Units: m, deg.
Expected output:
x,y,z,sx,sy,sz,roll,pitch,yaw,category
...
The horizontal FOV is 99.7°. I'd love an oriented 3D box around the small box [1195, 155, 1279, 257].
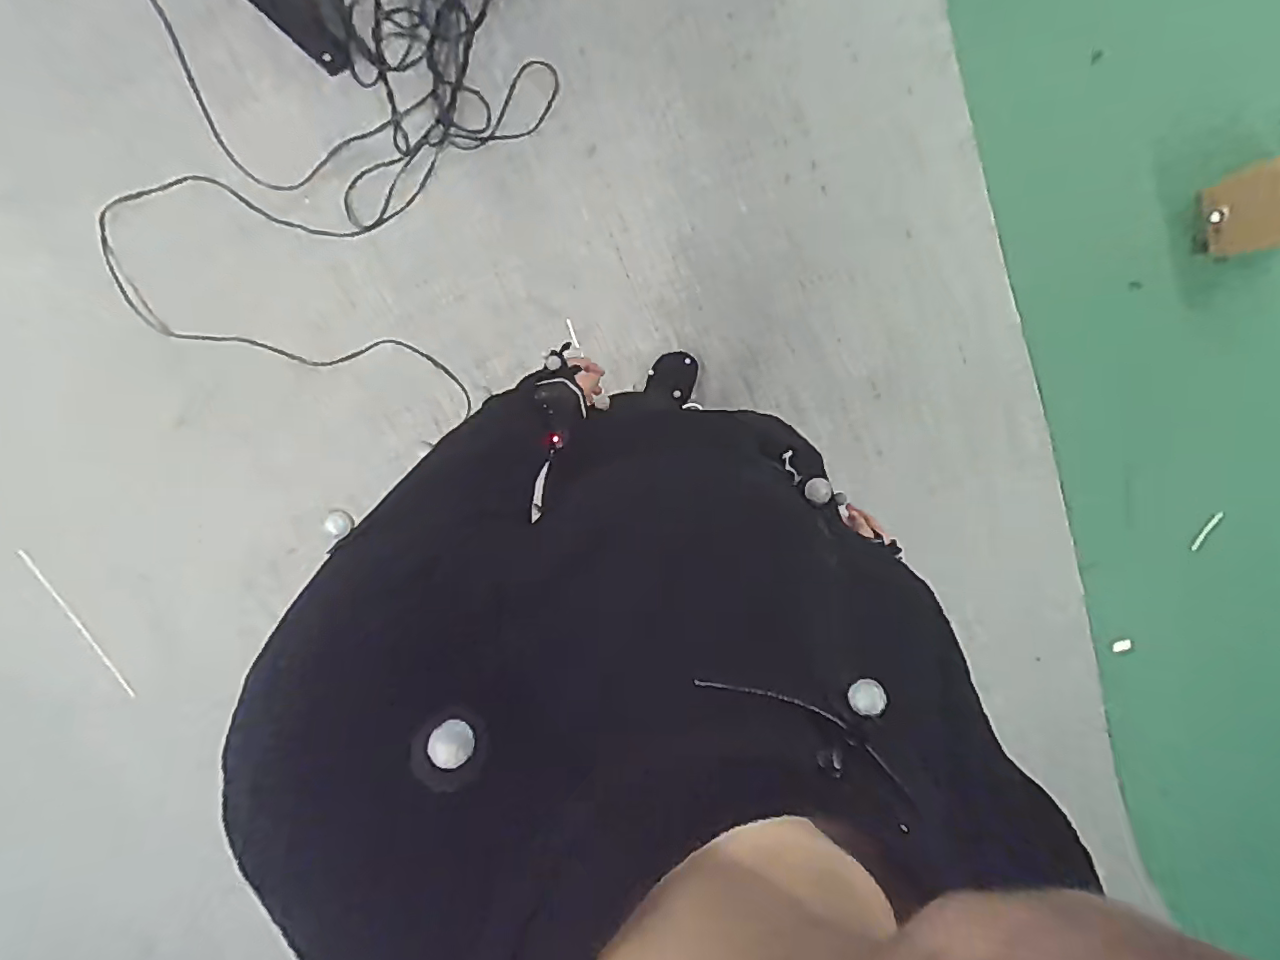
x,y,z,sx,sy,sz,roll,pitch,yaw,category
1.375,-0.605,1.165,0.179,0.176,0.168,-23,102,5,small box
